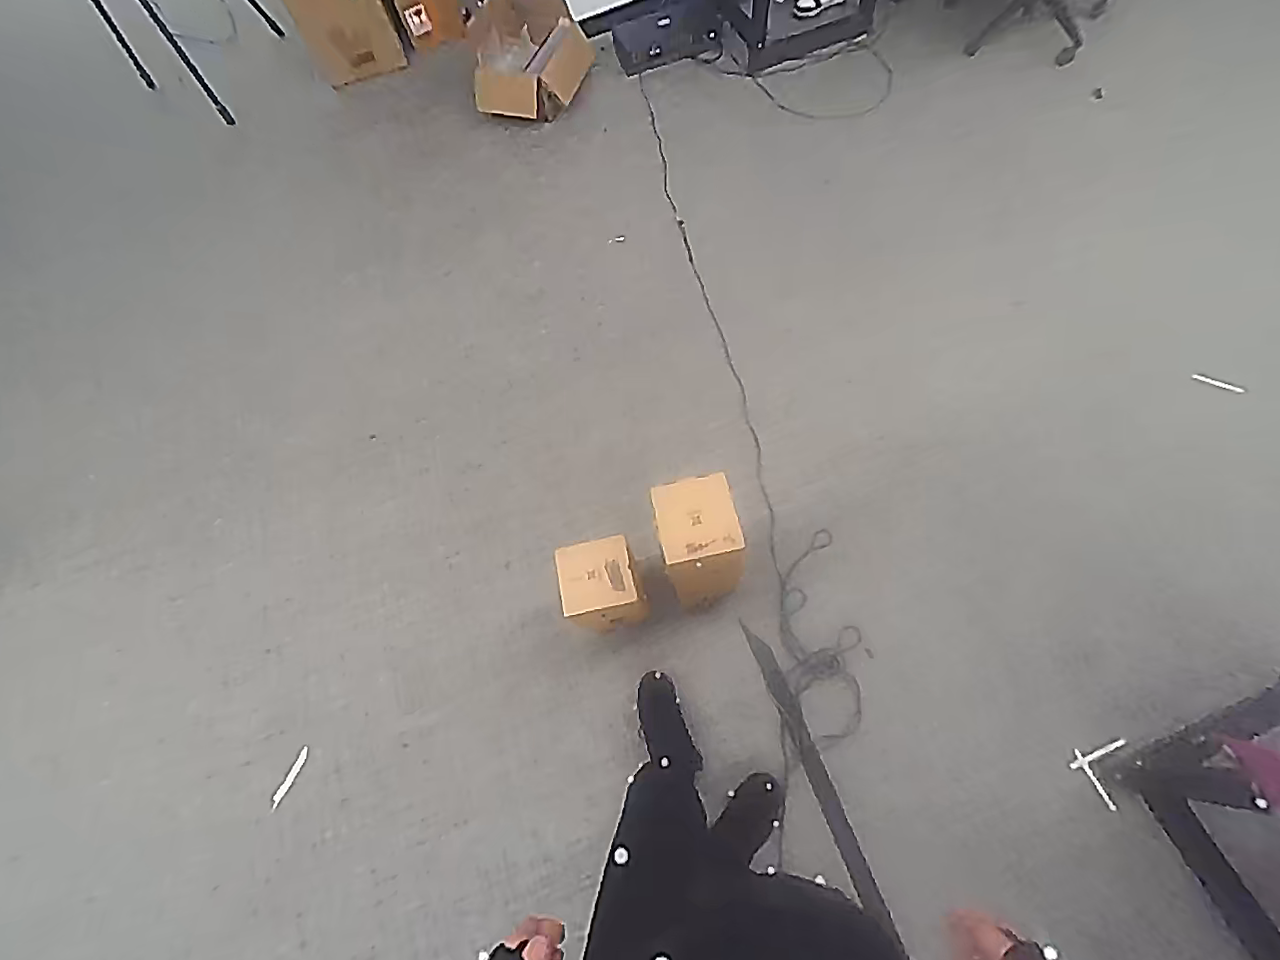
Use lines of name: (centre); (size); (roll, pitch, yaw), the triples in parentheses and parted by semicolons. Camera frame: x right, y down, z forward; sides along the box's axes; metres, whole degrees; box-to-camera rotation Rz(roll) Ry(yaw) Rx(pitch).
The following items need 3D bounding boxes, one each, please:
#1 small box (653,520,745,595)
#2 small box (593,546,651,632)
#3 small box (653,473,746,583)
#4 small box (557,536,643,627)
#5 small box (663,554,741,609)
small box: (0.147, 0.173, 1.343); (0.179, 0.176, 0.168); (-20, 66, -2)
small box: (-0.073, 0.303, 1.487); (0.168, 0.176, 0.179); (-17, 67, 0)
small box: (0.128, 0.111, 1.192); (0.168, 0.176, 0.179); (-13, 65, 1)
small box: (-0.092, 0.254, 1.331); (0.179, 0.176, 0.168); (-13, 66, 1)
small box: (0.164, 0.236, 1.492); (0.168, 0.176, 0.179); (-21, 67, -2)
